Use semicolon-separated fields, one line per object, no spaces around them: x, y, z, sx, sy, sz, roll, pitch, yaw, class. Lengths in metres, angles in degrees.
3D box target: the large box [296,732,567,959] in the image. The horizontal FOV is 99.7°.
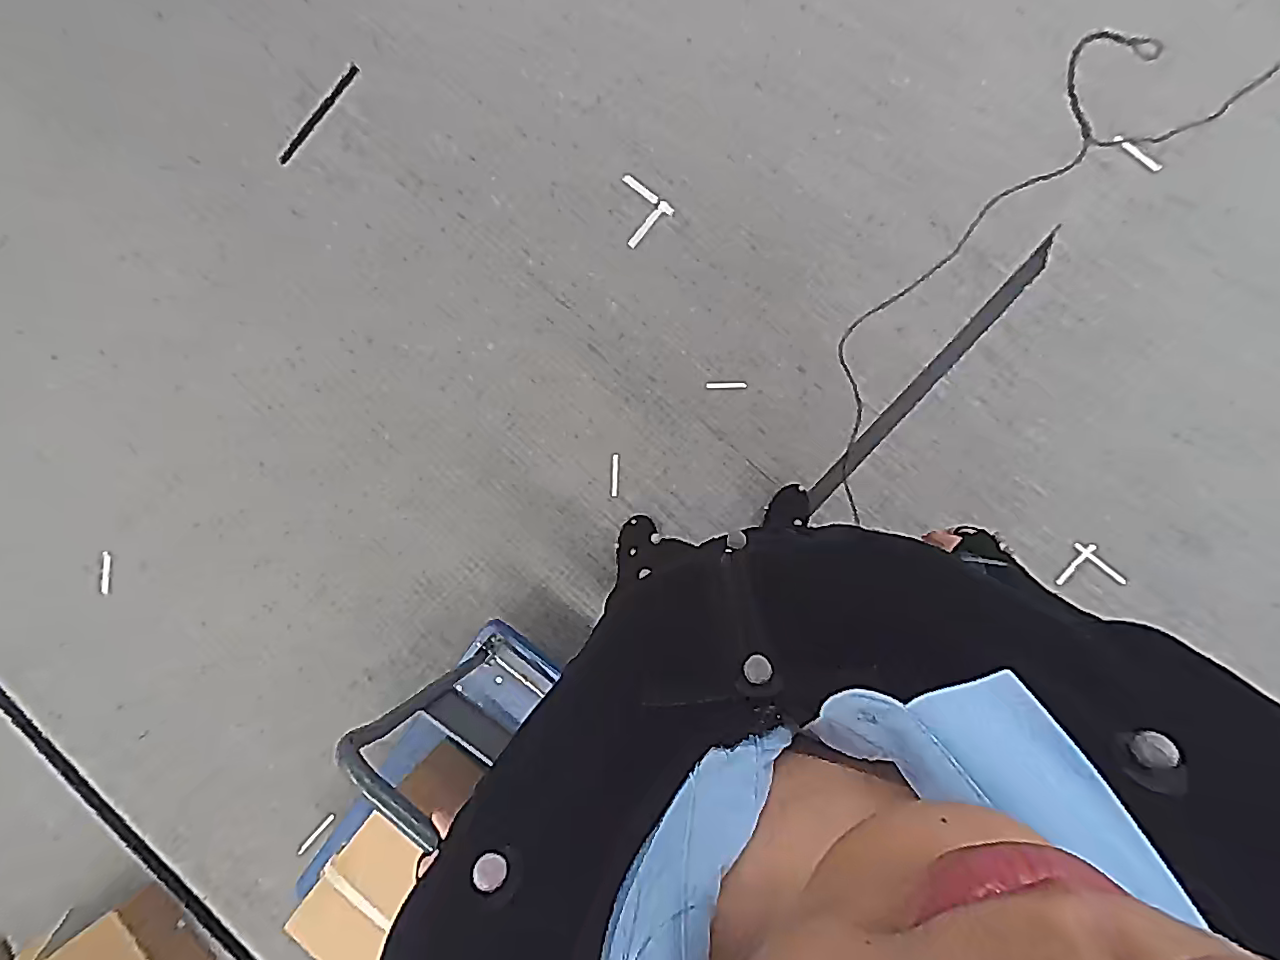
-0.432;0.861;1.208;0.408;0.320;0.320;38;92;4;large box
